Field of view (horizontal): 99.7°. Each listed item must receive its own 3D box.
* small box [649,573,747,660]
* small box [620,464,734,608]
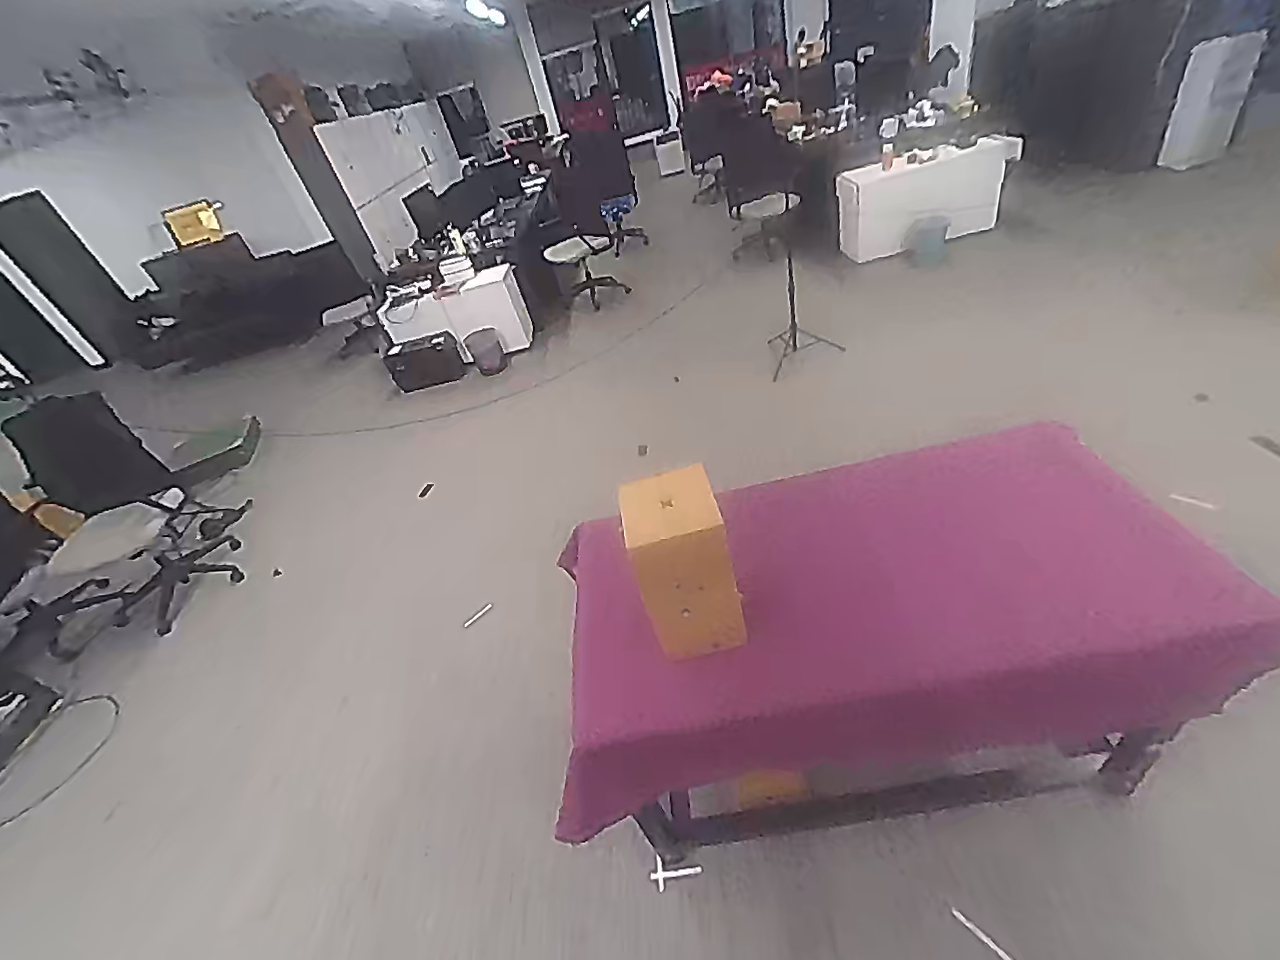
[{"bbox_3d":[0.108,0.227,1.081,0.168,0.176,0.179,-14,37,4],"label":"small box"},{"bbox_3d":[0.066,0.102,0.985,0.168,0.176,0.179,-15,37,3],"label":"small box"}]
